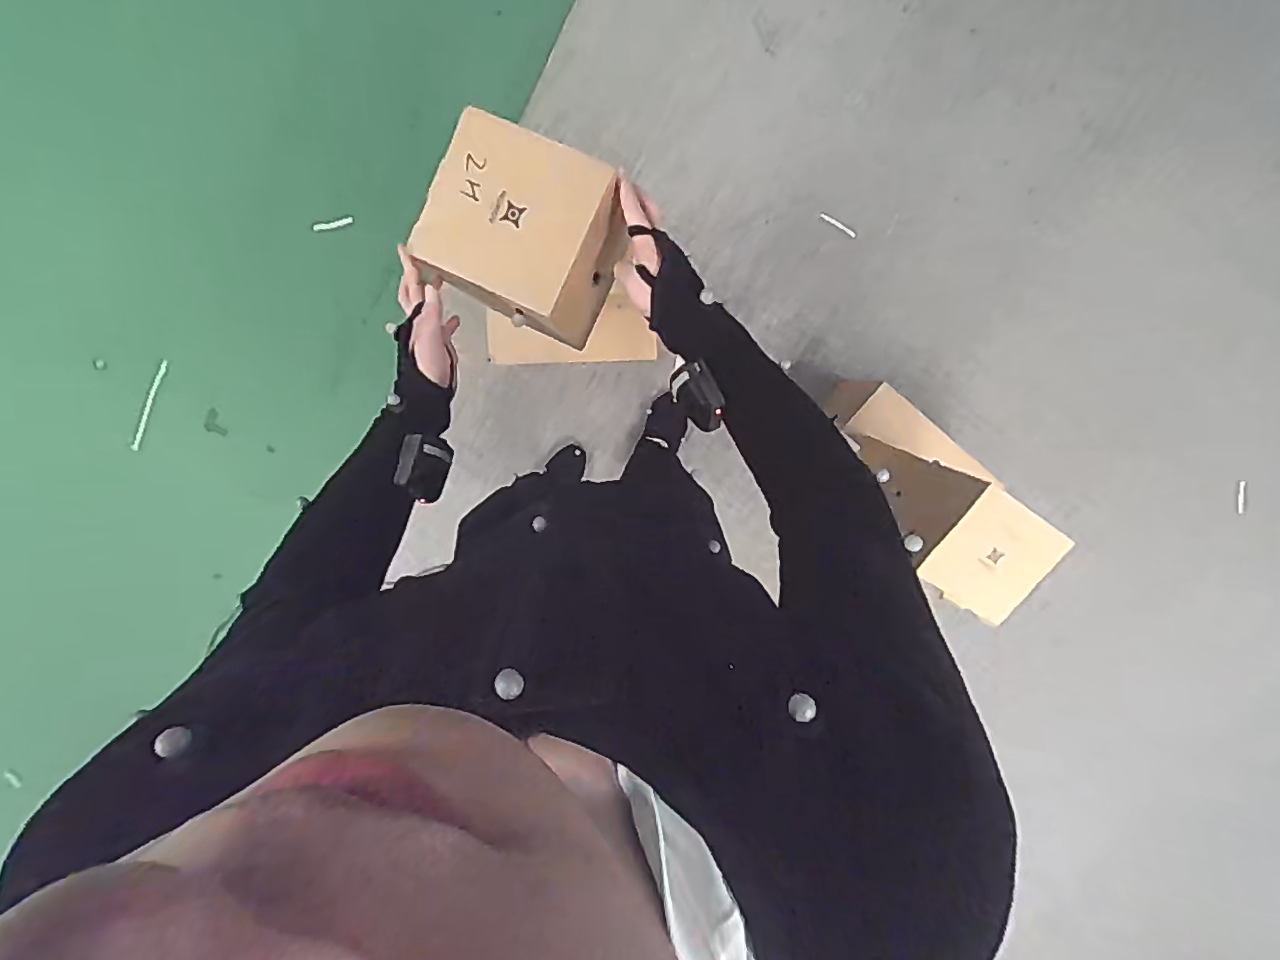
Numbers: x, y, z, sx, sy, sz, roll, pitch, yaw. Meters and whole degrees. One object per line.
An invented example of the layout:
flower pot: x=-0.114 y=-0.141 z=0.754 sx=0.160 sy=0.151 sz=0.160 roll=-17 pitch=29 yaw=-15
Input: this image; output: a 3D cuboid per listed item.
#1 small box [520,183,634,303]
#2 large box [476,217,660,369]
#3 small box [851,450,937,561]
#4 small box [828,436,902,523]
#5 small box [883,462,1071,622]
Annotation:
small box: x=-0.108 y=-0.416 z=0.973 sx=0.179 sy=0.176 sz=0.168 roll=5 pitch=103 yaw=1
large box: x=-0.158 y=-0.457 z=1.387 sx=0.408 sy=0.320 sz=0.320 roll=-2 pitch=102 yaw=4
small box: x=0.541 y=0.063 z=1.056 sx=0.168 sy=0.176 sz=0.179 roll=35 pitch=101 yaw=-5
small box: x=0.547 y=0.023 z=1.214 sx=0.168 sy=0.176 sz=0.179 roll=35 pitch=103 yaw=-6
small box: x=0.536 y=0.093 z=0.896 sx=0.168 sy=0.176 sz=0.179 roll=34 pitch=101 yaw=-6
